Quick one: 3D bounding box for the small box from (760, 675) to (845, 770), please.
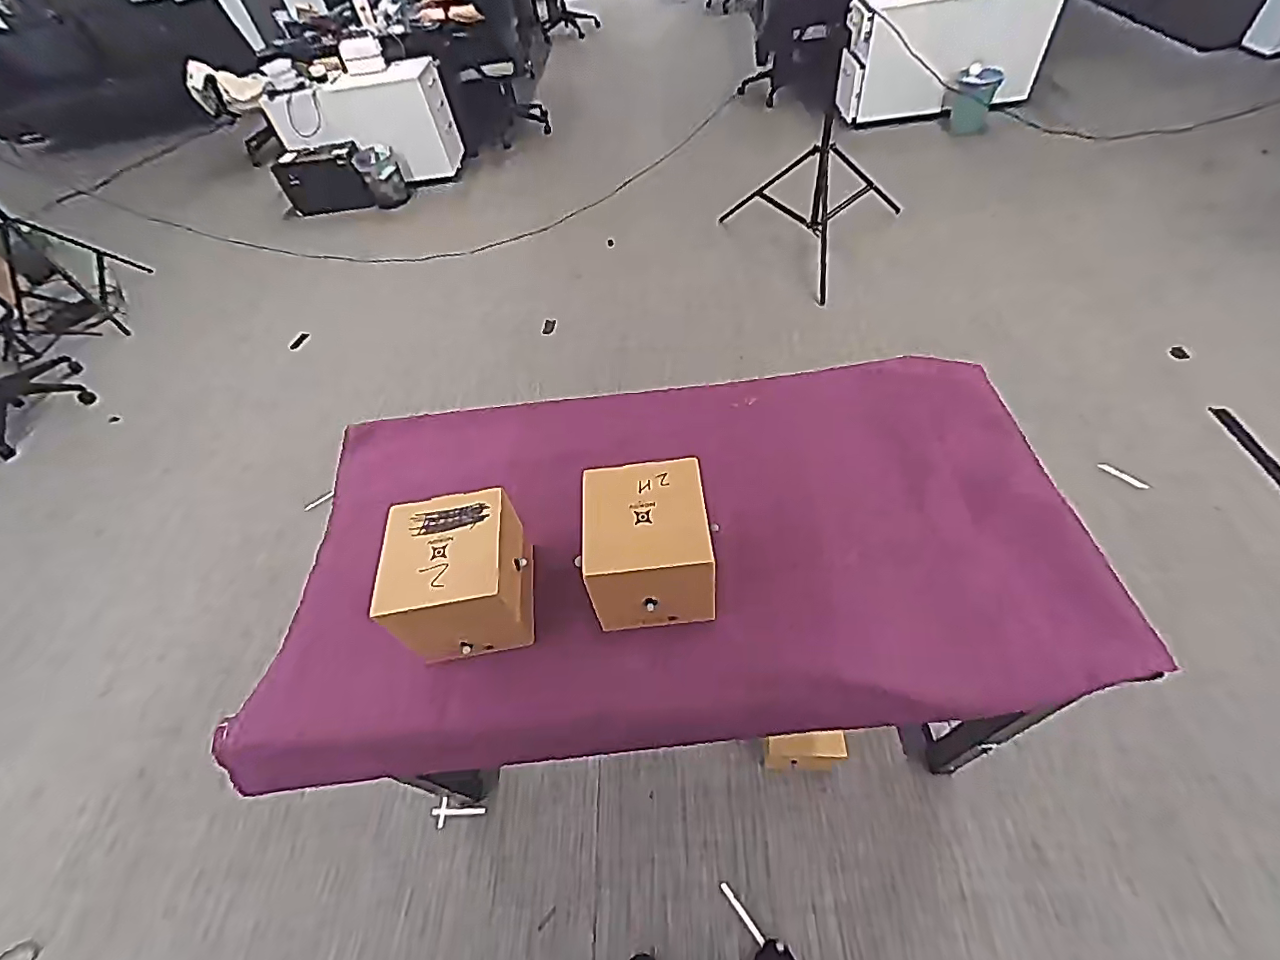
[{"bbox_3d":[0.378,0.580,1.286,0.168,0.176,0.179,-2,51,7],"label":"small box"}]

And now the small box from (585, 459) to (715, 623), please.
[{"bbox_3d":[0.017,0.096,0.784,0.168,0.176,0.179,-6,50,2],"label":"small box"}]
